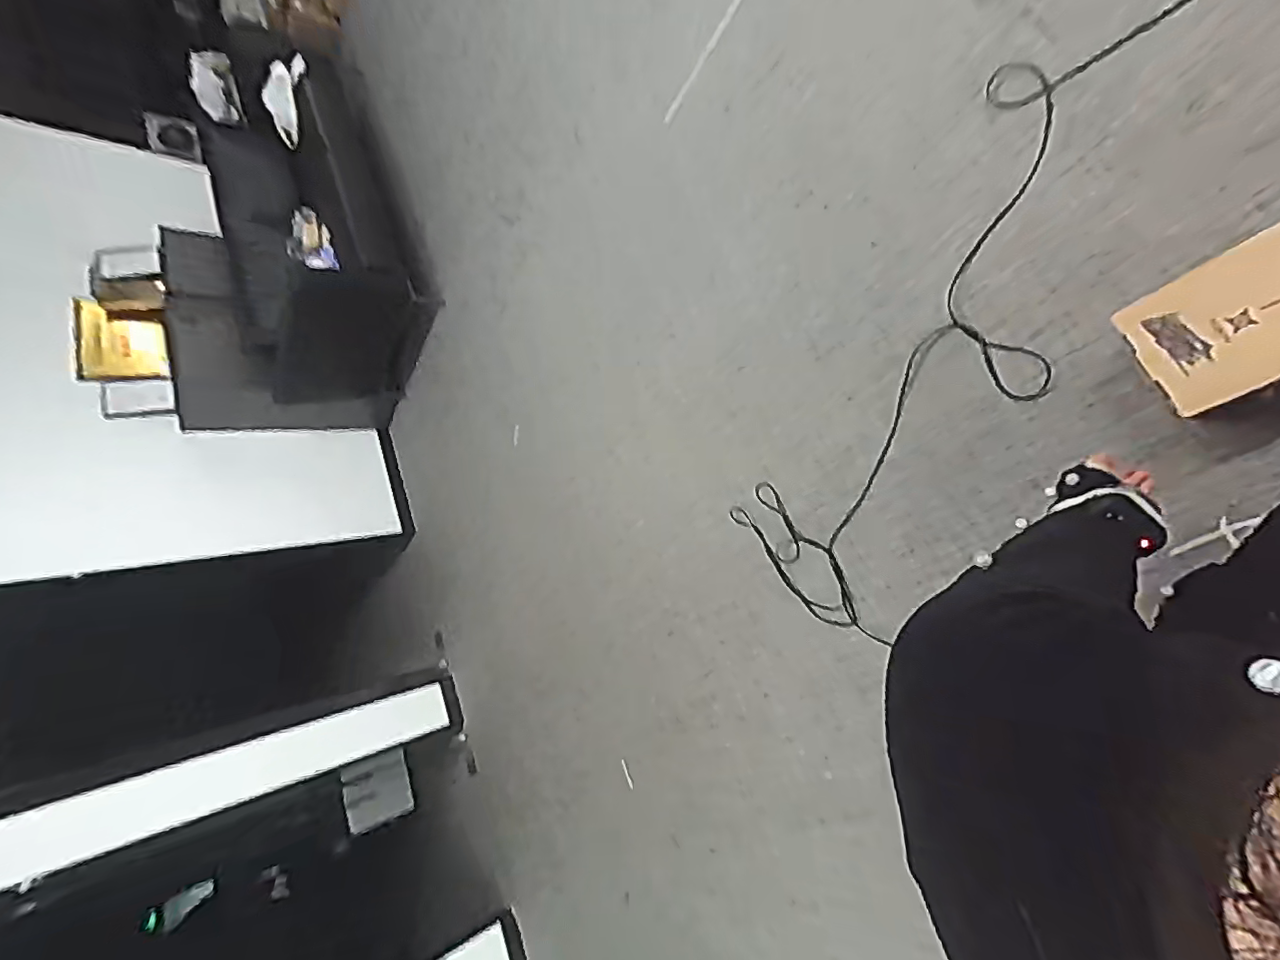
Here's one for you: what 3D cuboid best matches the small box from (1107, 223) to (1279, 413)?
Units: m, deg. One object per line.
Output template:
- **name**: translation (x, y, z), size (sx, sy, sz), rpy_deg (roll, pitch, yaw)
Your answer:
- **small box**: translation (0.784, -0.199, 0.723), size (0.179, 0.176, 0.168), rpy_deg (-38, 66, 43)
